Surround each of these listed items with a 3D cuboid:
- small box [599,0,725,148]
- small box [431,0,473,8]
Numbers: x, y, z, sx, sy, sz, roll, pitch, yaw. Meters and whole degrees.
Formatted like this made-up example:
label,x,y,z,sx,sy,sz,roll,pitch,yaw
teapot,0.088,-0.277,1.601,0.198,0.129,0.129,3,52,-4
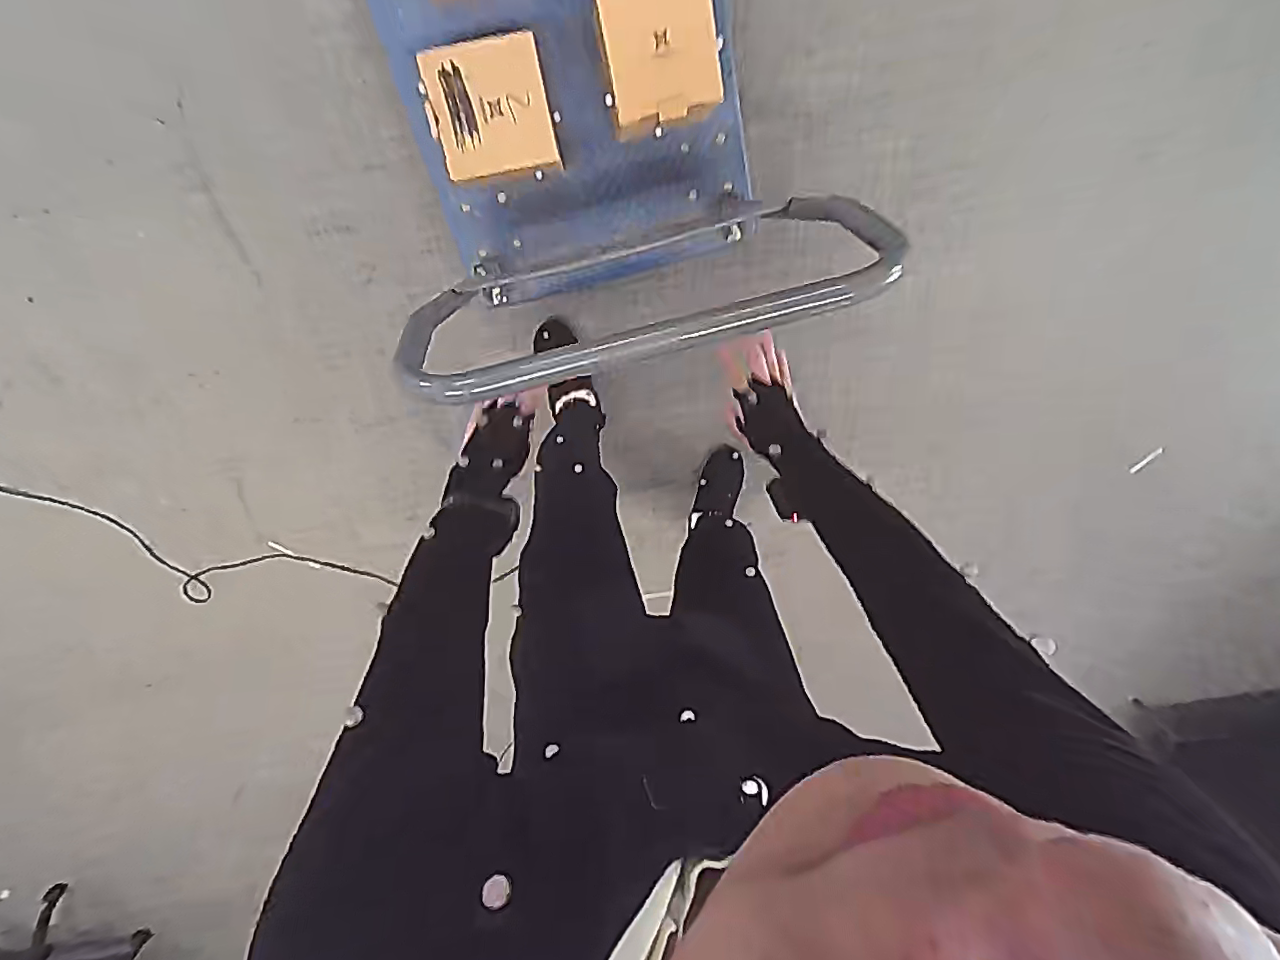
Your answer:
label,x,y,z,sx,sy,sz,roll,pitch,yaw
small box,0.030,-0.668,0.879,0.168,0.176,0.179,-13,115,1
small box,-0.272,-0.830,0.782,0.168,0.176,0.179,-17,114,3
